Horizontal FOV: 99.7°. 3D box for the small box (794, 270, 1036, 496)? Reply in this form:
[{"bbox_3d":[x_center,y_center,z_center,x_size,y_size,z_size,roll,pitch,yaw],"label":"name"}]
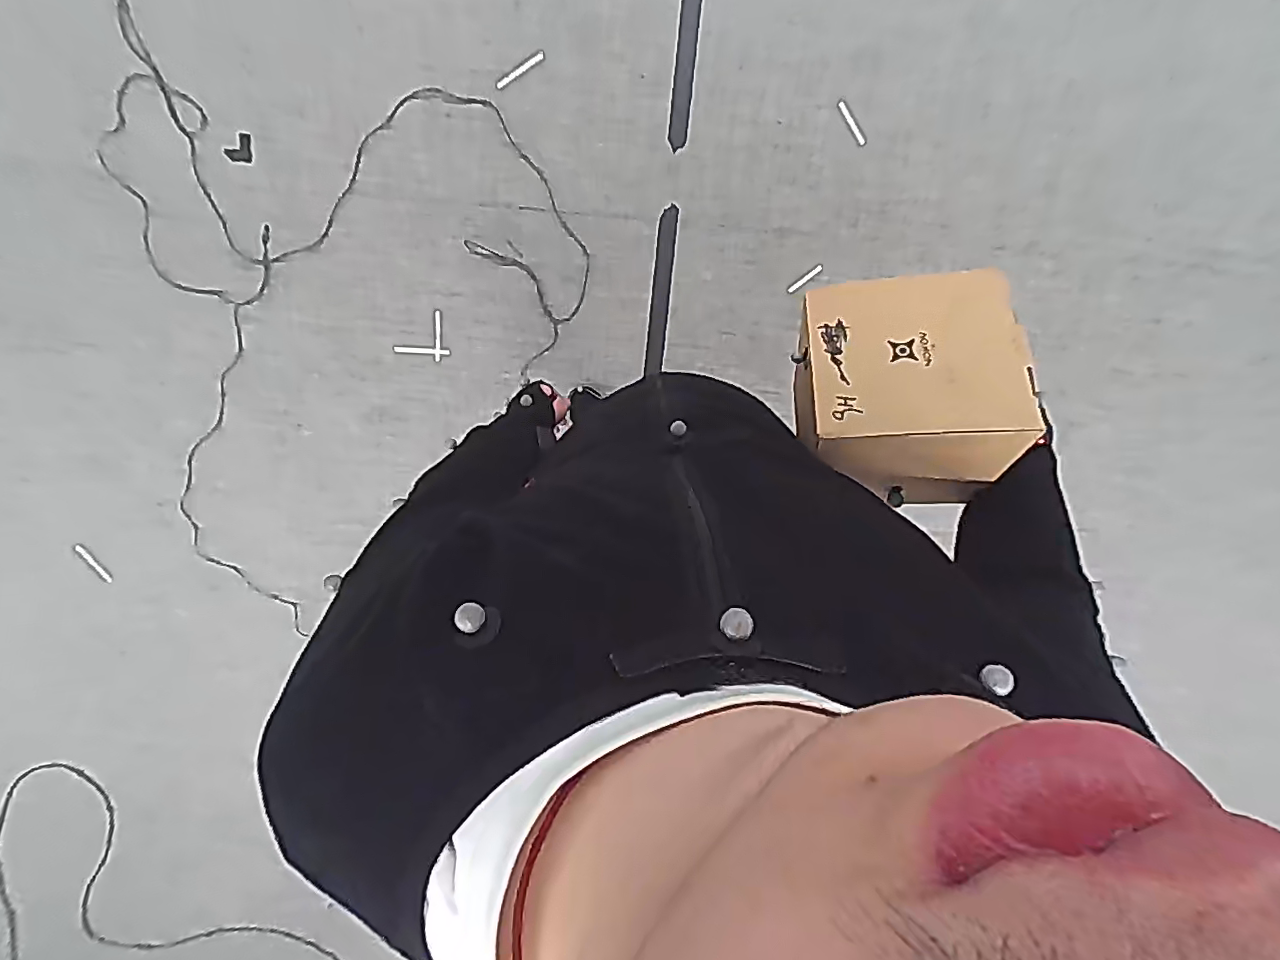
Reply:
[{"bbox_3d":[0.260,-0.088,0.560,0.179,0.176,0.168,-1,67,11],"label":"small box"}]
